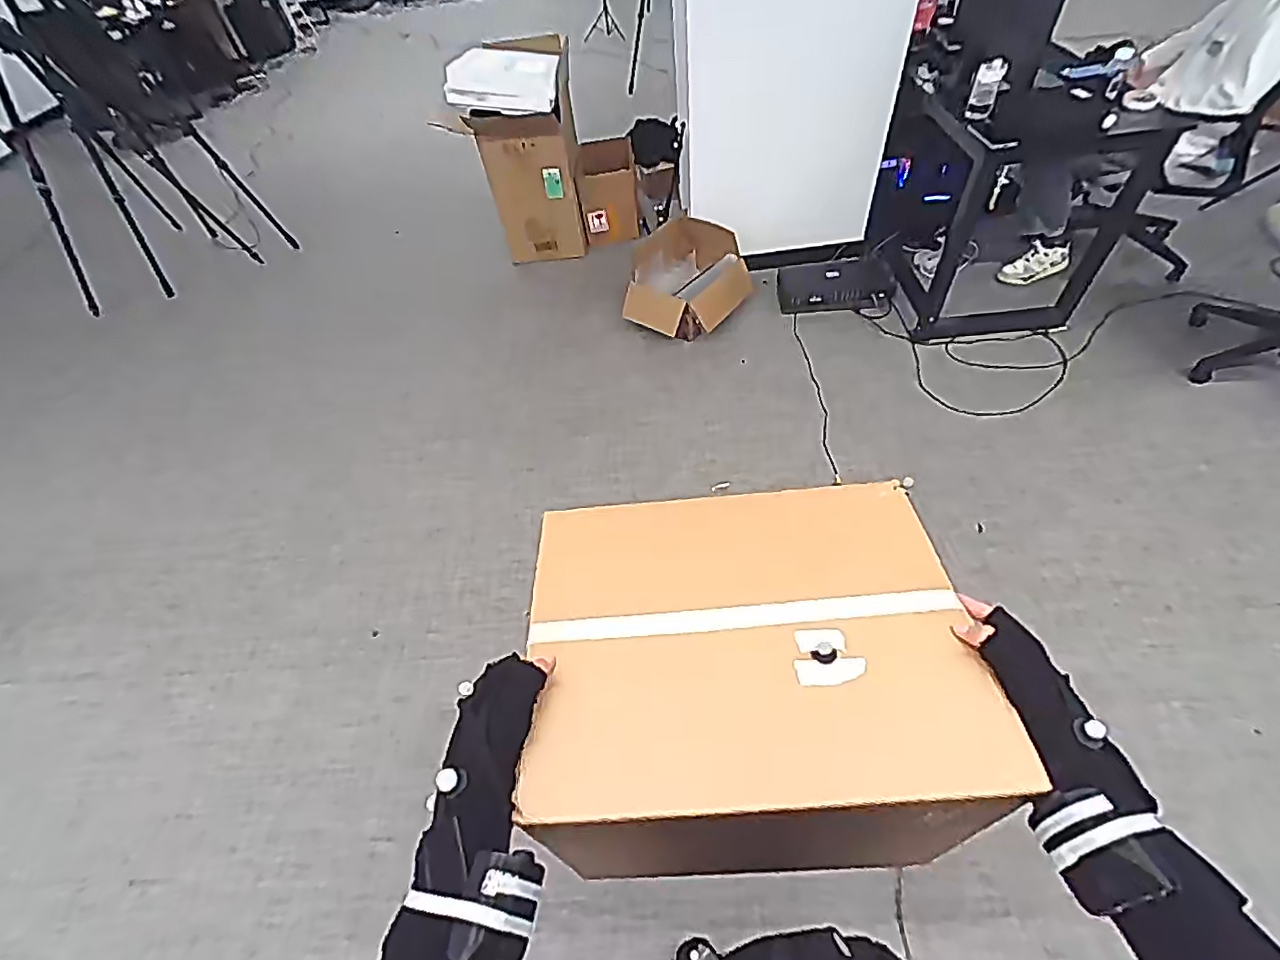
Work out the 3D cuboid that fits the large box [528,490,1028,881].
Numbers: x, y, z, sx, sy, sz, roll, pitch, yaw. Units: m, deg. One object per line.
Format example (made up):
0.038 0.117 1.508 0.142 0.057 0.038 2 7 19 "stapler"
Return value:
0.112 0.243 0.632 0.408 0.320 0.320 -5 46 3 "large box"
